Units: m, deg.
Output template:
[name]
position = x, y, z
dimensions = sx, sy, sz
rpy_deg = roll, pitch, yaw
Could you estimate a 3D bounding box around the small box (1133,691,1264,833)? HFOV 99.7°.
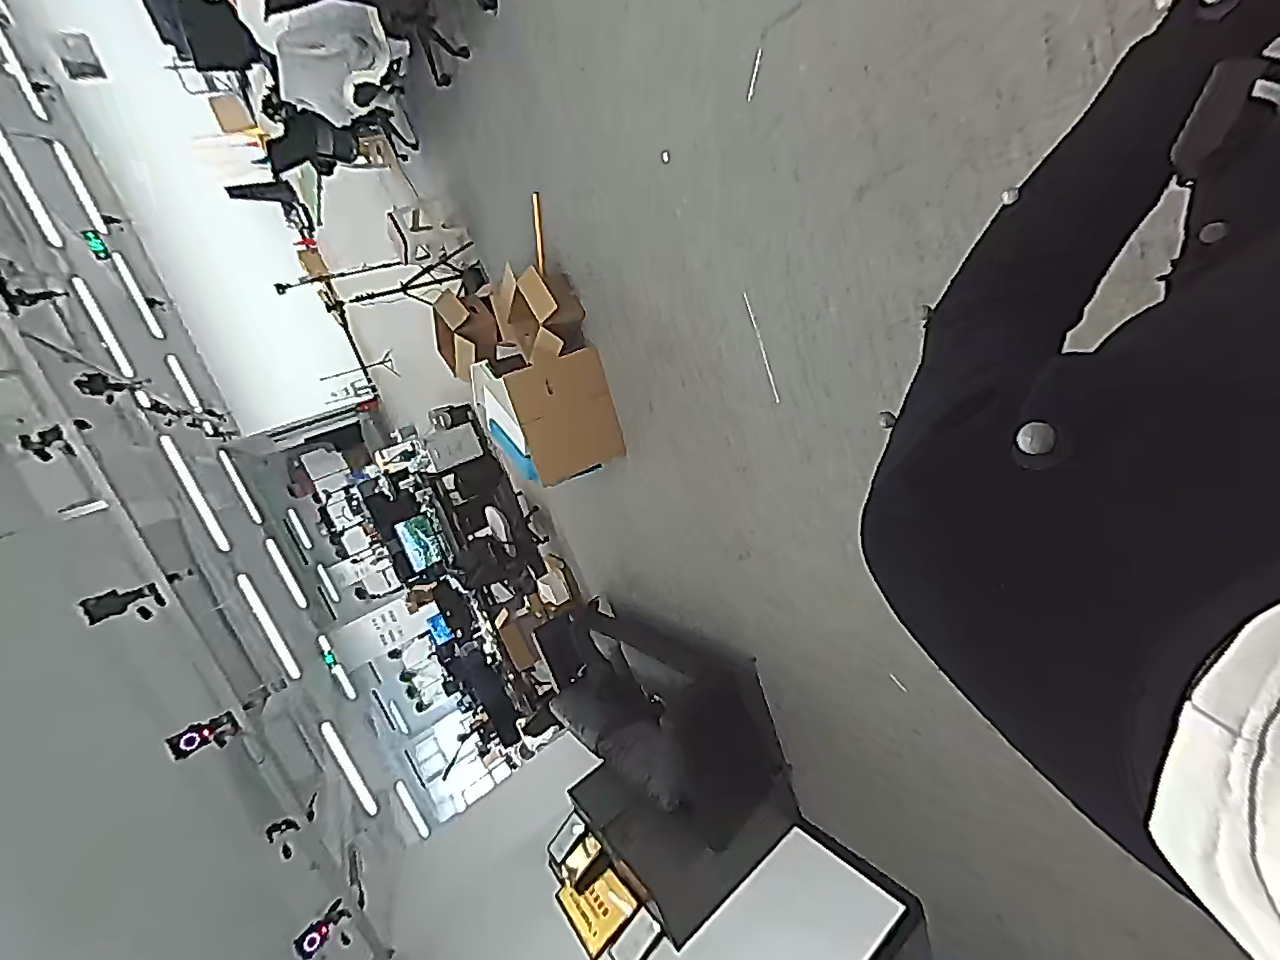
[small box]
position = 1.197, 0.591, 1.161
dimensions = 0.168, 0.176, 0.179
rpy_deg = 12, 122, 56
